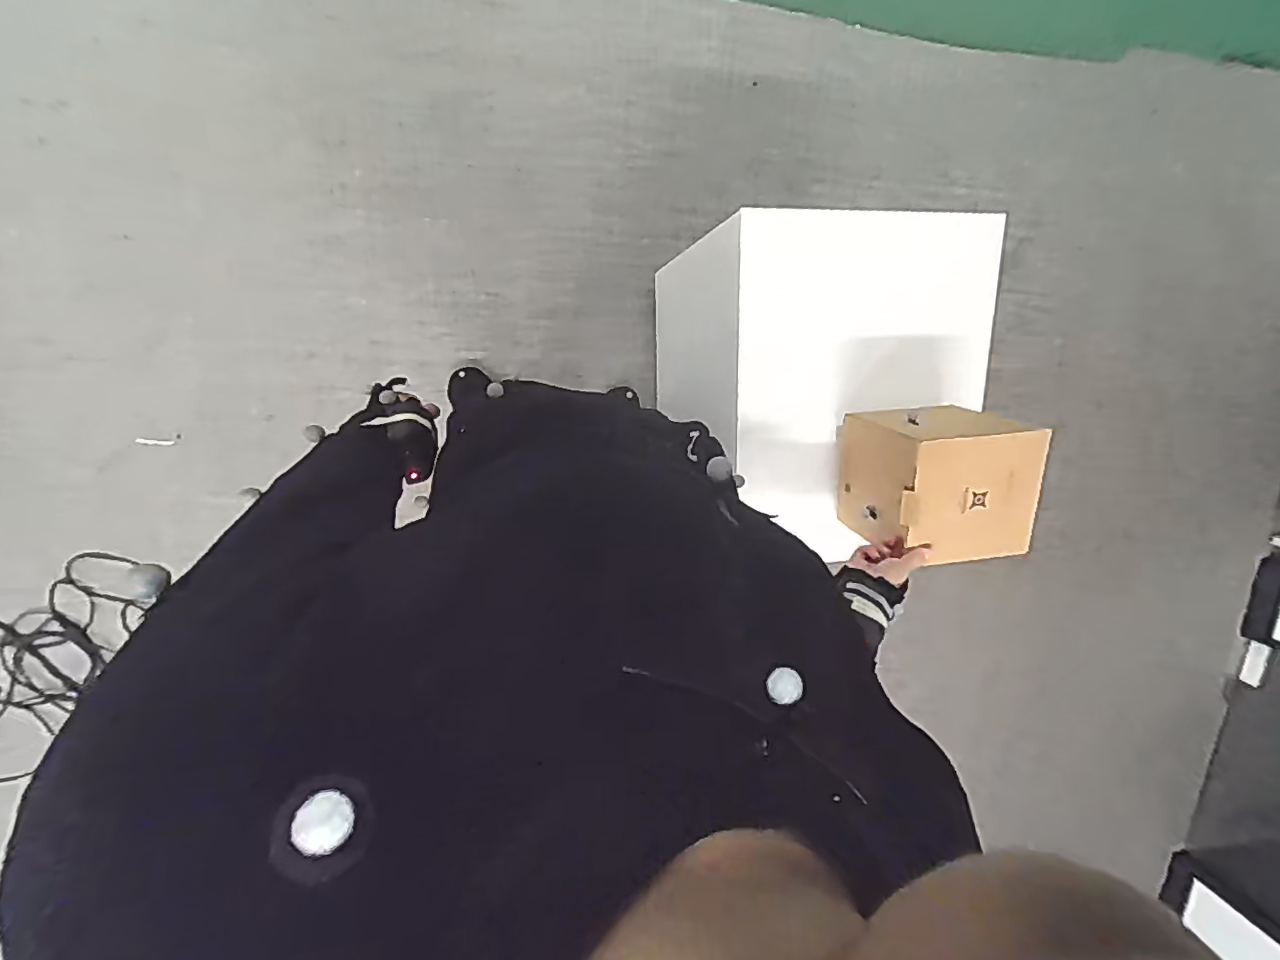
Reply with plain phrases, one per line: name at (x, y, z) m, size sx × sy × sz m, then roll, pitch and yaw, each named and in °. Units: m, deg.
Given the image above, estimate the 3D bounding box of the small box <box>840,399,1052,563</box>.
small box at (0.388, -0.008, 0.720) m, size 0.179 × 0.176 × 0.168 m, roll -6°, pitch 110°, yaw -8°
